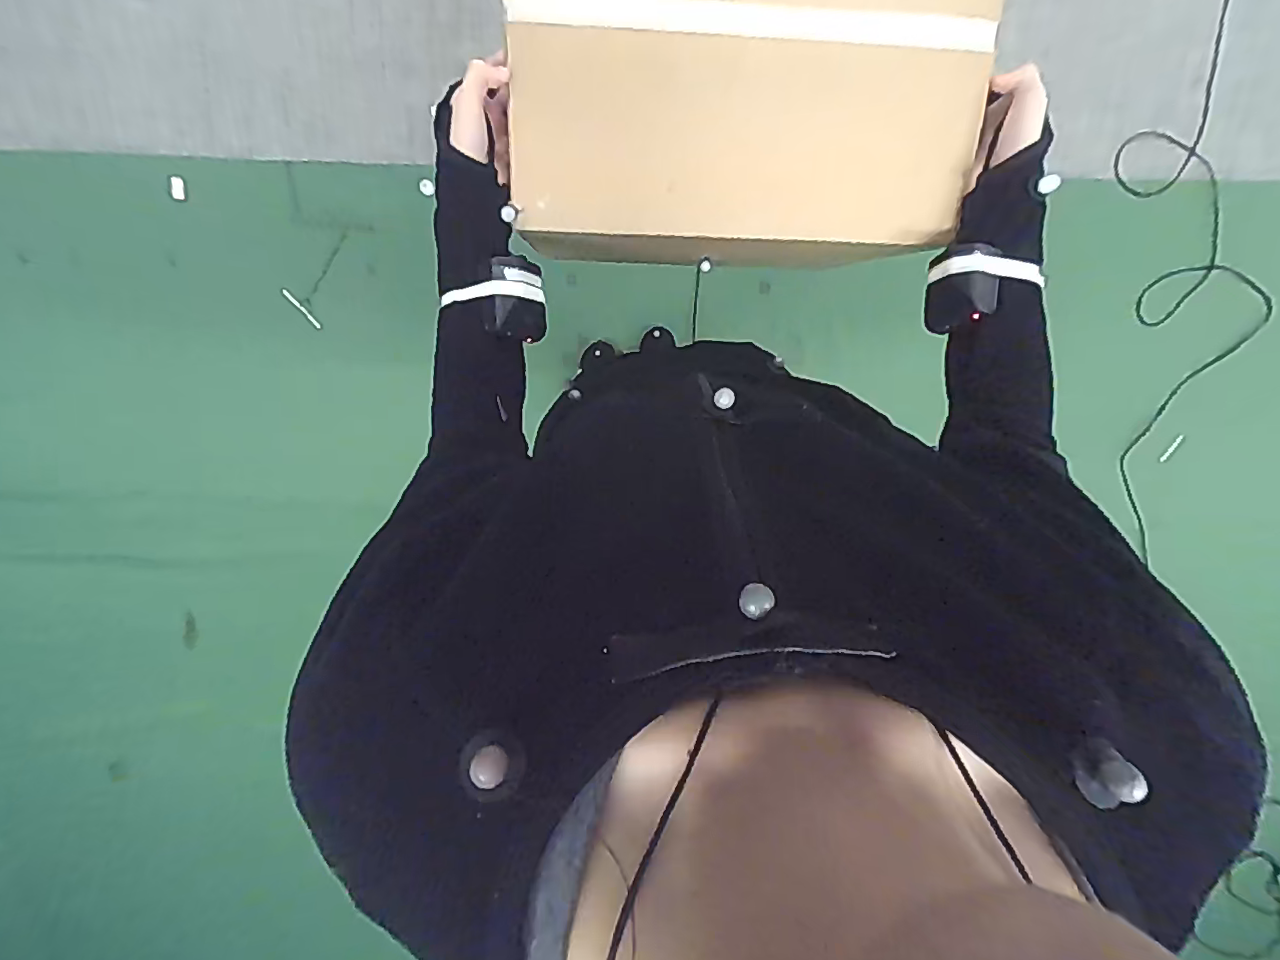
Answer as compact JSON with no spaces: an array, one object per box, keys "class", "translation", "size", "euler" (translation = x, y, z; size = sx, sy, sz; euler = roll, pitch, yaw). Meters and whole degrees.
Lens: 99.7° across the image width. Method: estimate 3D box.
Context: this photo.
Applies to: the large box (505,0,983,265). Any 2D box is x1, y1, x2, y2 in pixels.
[{"class":"large box","translation":[0.080,-0.410,0.594],"size":[0.408,0.320,0.320],"euler":[0,107,-4]}]
